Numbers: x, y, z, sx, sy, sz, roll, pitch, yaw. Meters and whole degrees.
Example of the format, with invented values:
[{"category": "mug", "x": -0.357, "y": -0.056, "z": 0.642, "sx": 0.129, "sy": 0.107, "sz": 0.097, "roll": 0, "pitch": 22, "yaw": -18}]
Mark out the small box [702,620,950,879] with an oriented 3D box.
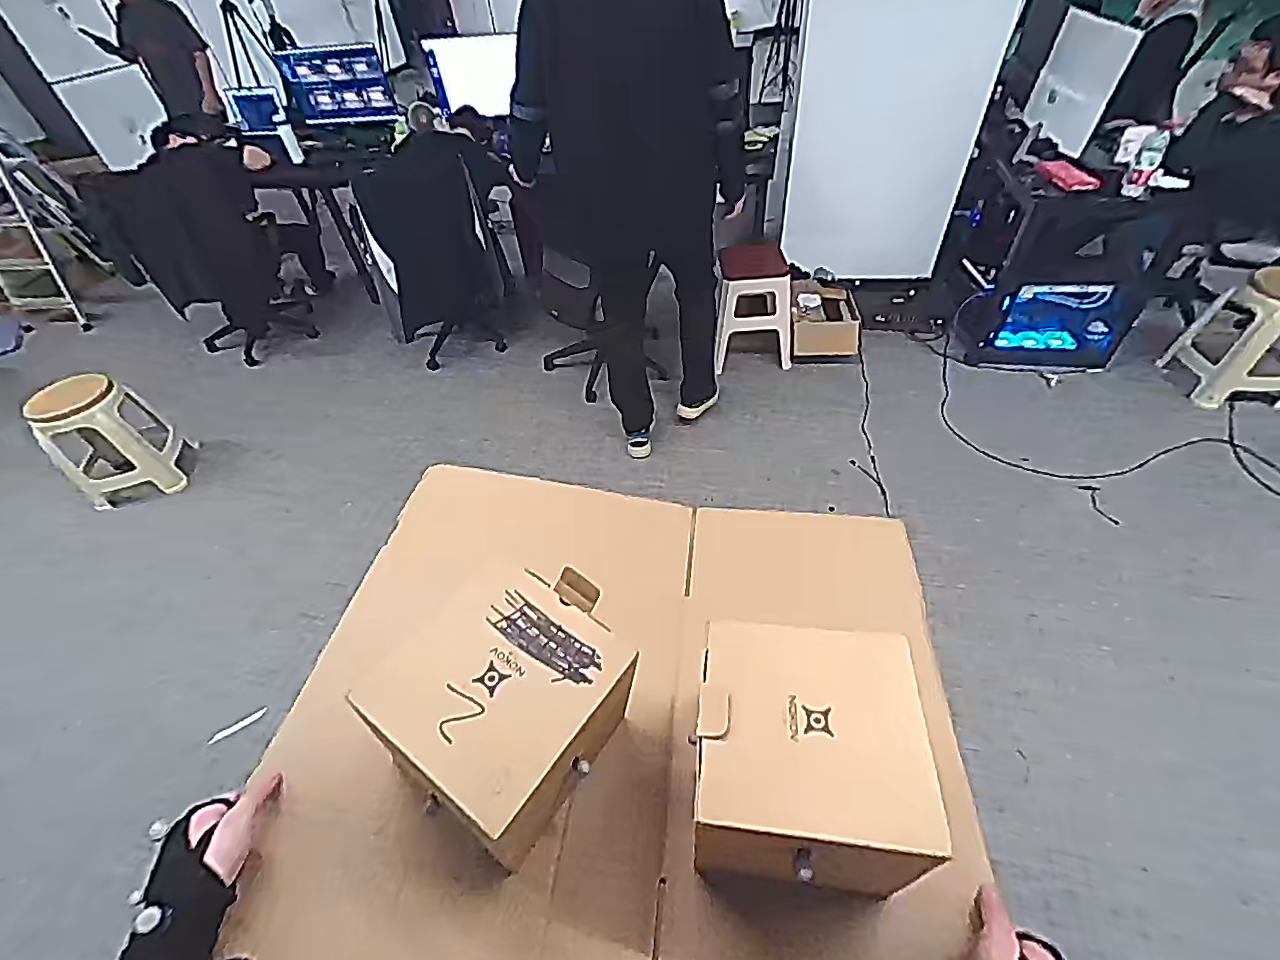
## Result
[{"category": "small box", "x": 0.150, "y": 0.251, "z": 0.501, "sx": 0.179, "sy": 0.176, "sz": 0.168, "roll": 2, "pitch": 46, "yaw": 9}]
